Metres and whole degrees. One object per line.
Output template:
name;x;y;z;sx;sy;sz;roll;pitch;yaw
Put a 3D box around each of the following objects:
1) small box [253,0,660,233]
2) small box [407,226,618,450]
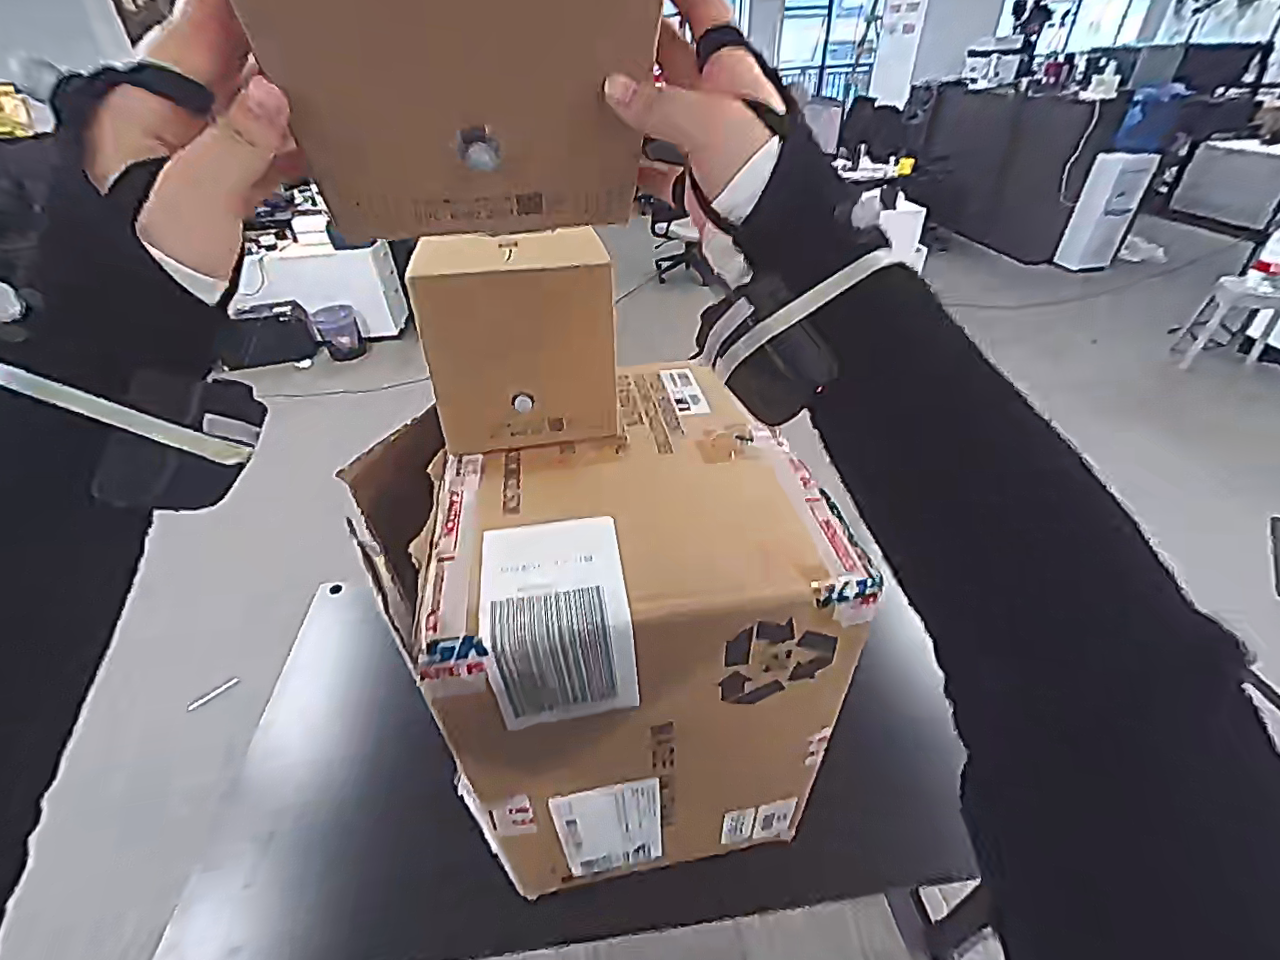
small box;-0.093;-0.256;0.272;0.168;0.176;0.179;-10;70;-12
small box;-0.117;-0.149;0.542;0.168;0.176;0.179;-8;37;-9
